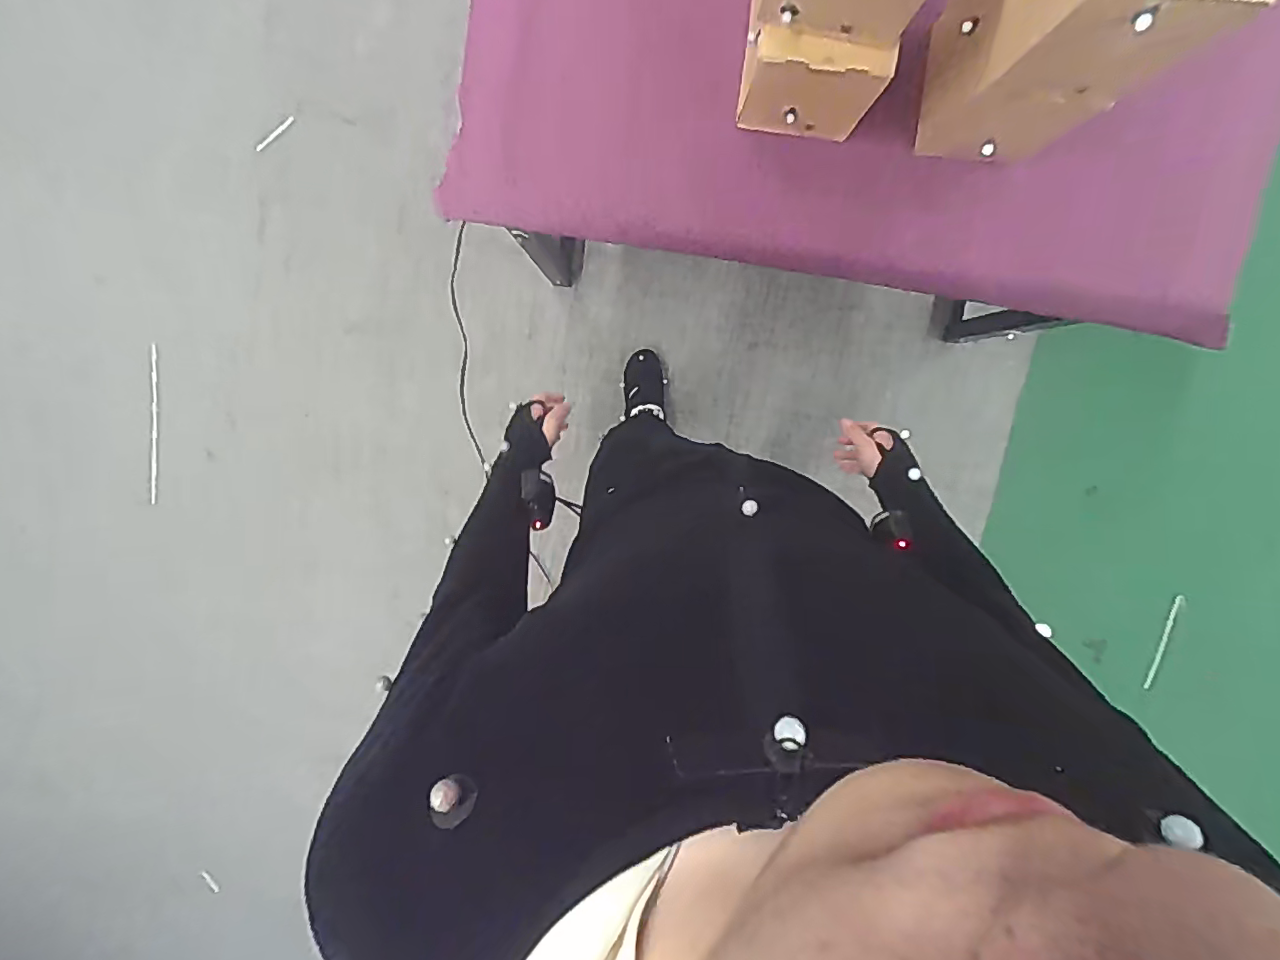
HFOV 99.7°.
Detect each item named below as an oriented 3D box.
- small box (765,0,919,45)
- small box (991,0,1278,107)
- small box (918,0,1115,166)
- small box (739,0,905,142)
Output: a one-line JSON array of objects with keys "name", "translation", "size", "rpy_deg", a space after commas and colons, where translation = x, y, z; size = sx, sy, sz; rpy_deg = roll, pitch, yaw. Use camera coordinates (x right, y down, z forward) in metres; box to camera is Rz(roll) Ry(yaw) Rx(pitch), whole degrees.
[{"name": "small box", "translation": [0.232, -0.593, 0.545], "size": [0.168, 0.176, 0.179], "rpy_deg": [11, 98, -2]}, {"name": "small box", "translation": [0.497, -0.527, 0.552], "size": [0.168, 0.176, 0.179], "rpy_deg": [5, 97, 0]}, {"name": "small box", "translation": [0.497, -0.550, 0.714], "size": [0.168, 0.176, 0.179], "rpy_deg": [5, 99, 0]}, {"name": "small box", "translation": [0.234, -0.586, 0.712], "size": [0.168, 0.176, 0.179], "rpy_deg": [6, 99, -1]}]
